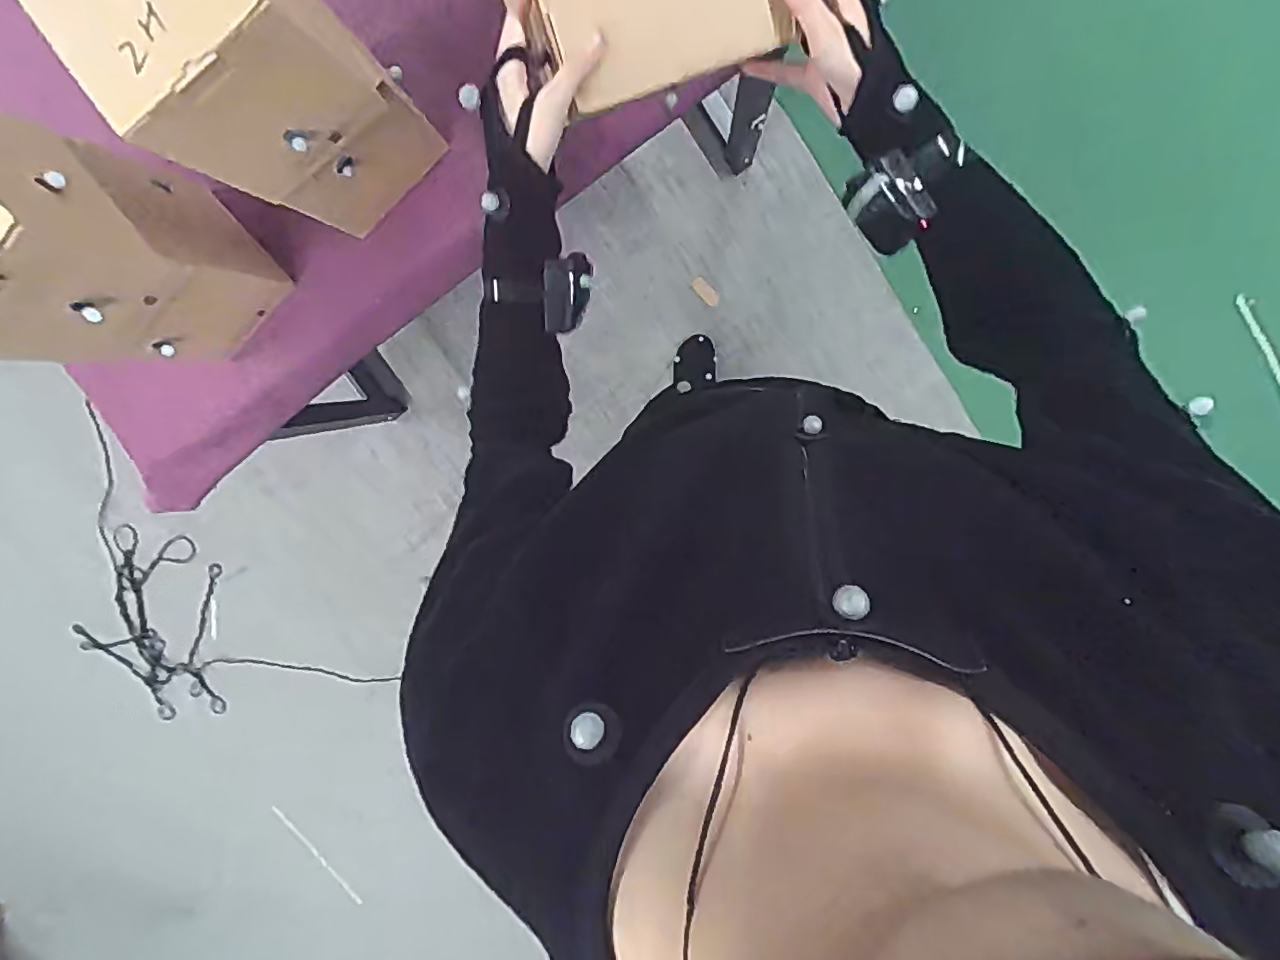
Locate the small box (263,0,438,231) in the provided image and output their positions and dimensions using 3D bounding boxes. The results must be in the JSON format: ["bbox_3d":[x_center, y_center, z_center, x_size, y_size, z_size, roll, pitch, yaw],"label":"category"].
[{"bbox_3d":[-0.379,-0.432,0.641,0.179,0.176,0.168,-40,95,10],"label":"small box"}]

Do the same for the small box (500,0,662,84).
[{"bbox_3d":[-0.082,-0.587,0.585,0.179,0.176,0.168,-23,97,10],"label":"small box"}]

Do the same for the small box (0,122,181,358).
[{"bbox_3d":[-0.622,-0.235,0.530,0.168,0.176,0.179,-41,95,10],"label":"small box"}]

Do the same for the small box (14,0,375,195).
[{"bbox_3d":[-0.385,-0.396,0.480,0.168,0.176,0.179,-33,97,10],"label":"small box"}]
